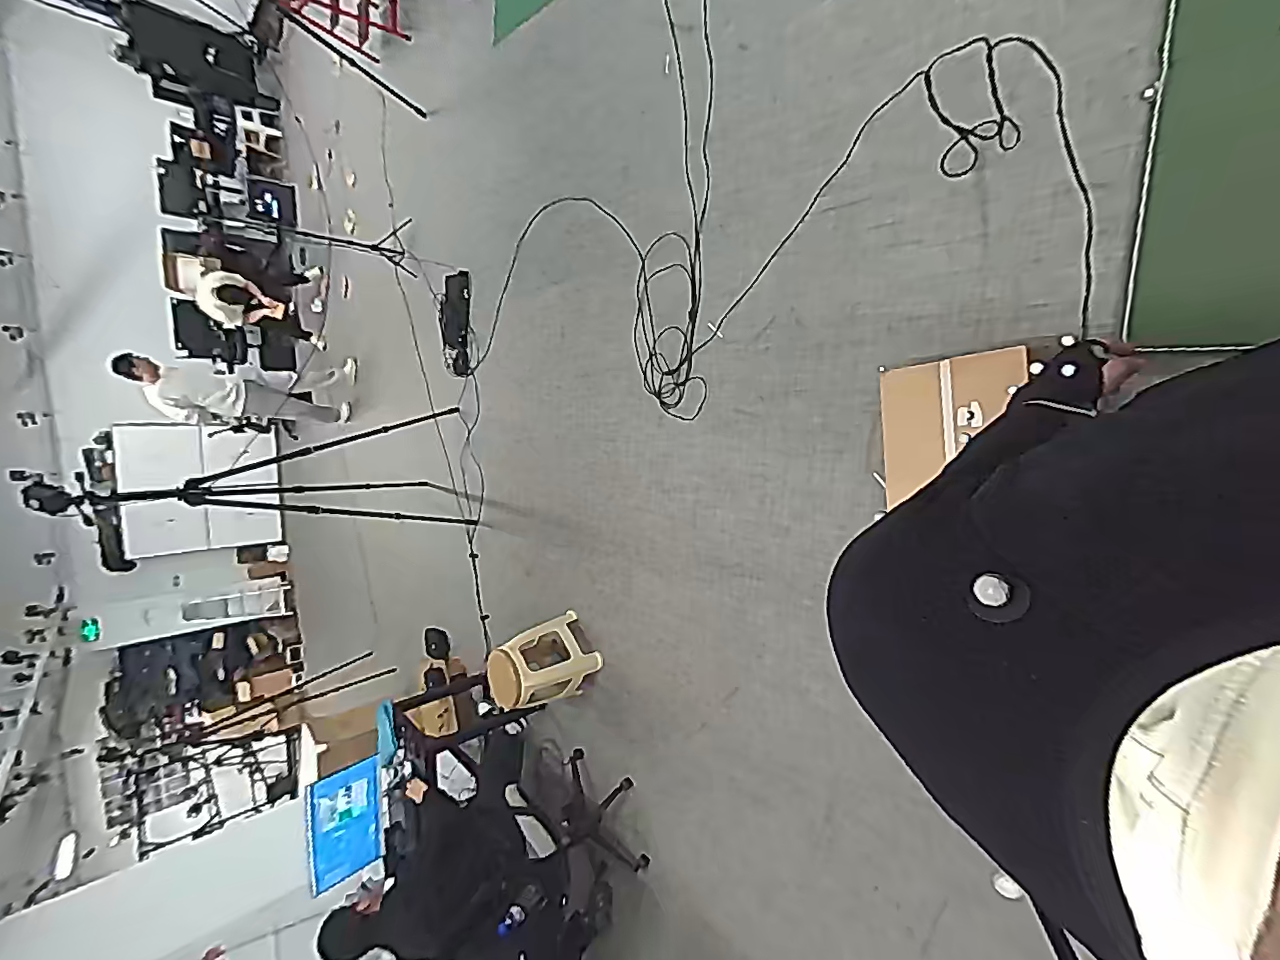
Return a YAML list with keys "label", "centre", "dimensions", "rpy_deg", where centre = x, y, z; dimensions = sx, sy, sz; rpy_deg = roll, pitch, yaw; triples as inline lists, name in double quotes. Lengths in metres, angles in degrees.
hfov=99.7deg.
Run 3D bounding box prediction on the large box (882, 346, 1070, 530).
- label: "large box"
  centre: [0.843, -0.089, 1.358]
  dimensions: [0.320, 0.320, 0.408]
  rpy_deg: [-3, 91, 48]
